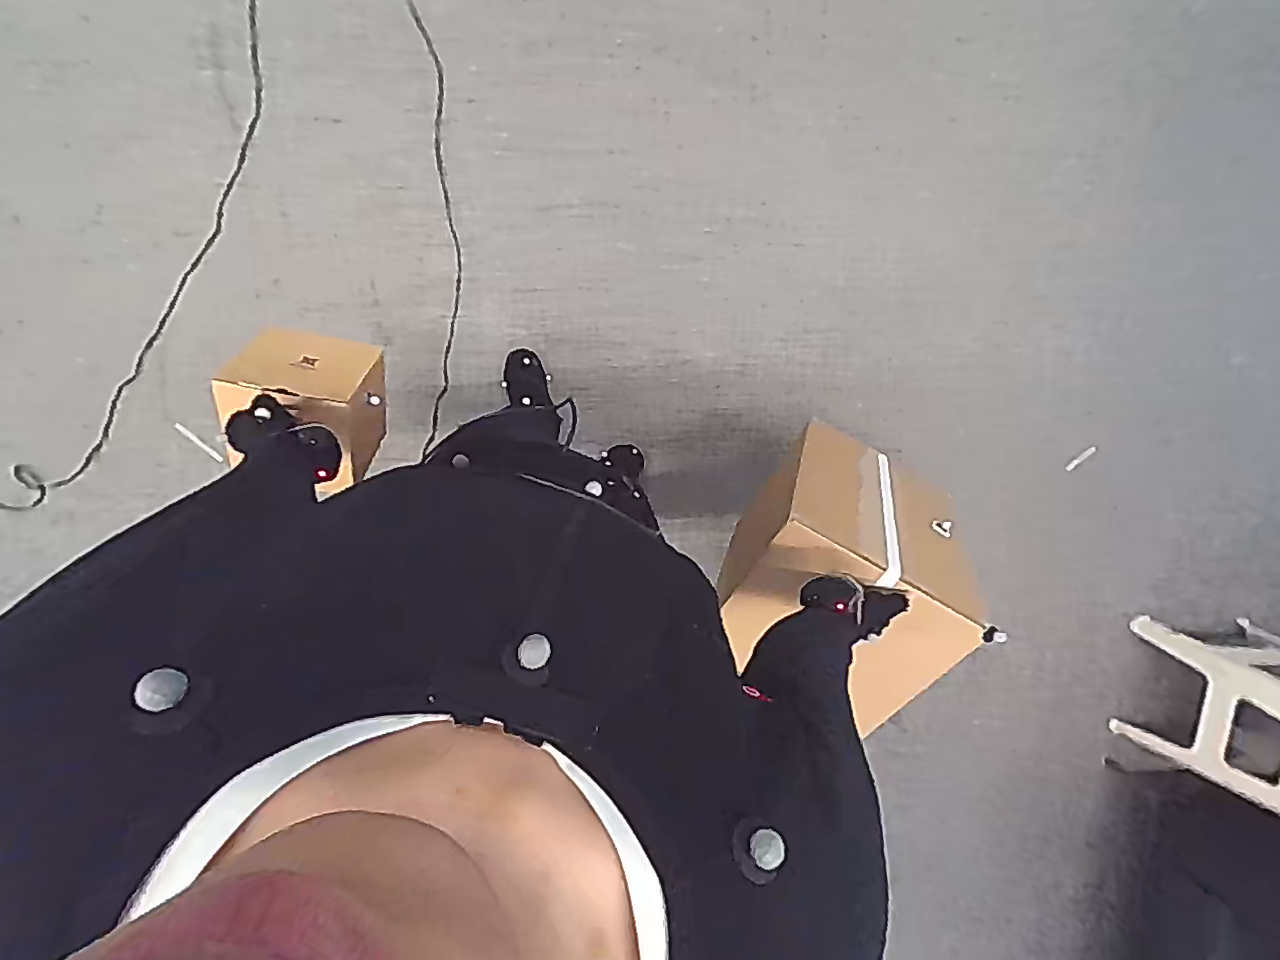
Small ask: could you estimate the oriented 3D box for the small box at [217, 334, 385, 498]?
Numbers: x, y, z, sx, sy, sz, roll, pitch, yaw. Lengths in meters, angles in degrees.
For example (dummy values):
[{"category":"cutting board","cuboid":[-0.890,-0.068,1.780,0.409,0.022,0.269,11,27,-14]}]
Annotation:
[{"category":"small box","cuboid":[-0.504,-0.098,0.835,0.168,0.179,0.176,8,128,-13]}]
